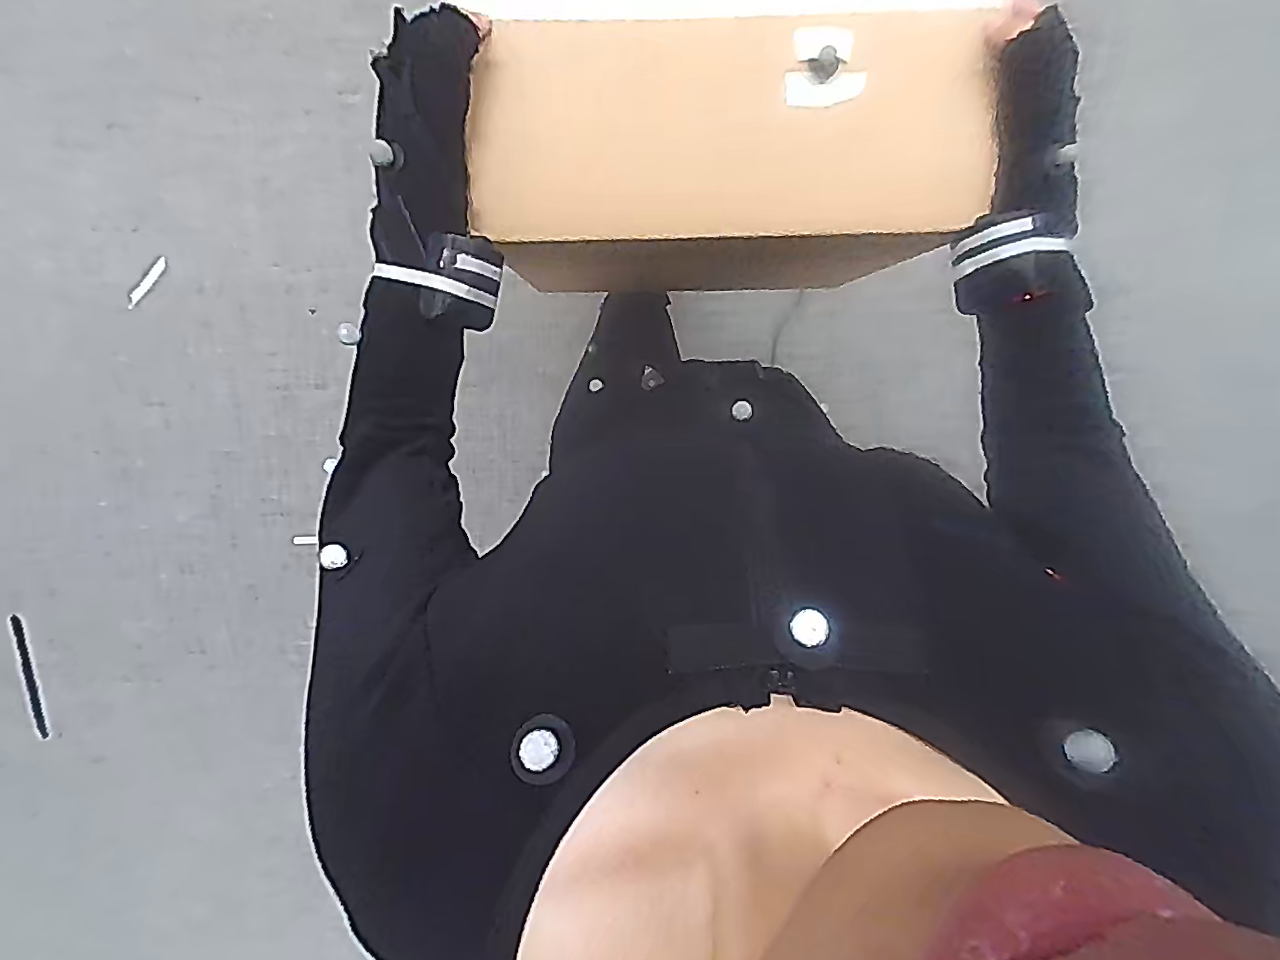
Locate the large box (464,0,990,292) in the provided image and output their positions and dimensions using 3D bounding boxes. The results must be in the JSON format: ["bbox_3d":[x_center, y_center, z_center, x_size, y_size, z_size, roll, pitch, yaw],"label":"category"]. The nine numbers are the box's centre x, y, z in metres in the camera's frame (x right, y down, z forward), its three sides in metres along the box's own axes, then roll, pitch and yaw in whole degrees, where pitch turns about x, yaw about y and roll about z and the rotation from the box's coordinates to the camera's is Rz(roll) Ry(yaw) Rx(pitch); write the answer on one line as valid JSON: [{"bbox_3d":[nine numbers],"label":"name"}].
[{"bbox_3d":[0.062,-0.382,0.551,0.408,0.320,0.320,-2,101,-1],"label":"large box"}]
